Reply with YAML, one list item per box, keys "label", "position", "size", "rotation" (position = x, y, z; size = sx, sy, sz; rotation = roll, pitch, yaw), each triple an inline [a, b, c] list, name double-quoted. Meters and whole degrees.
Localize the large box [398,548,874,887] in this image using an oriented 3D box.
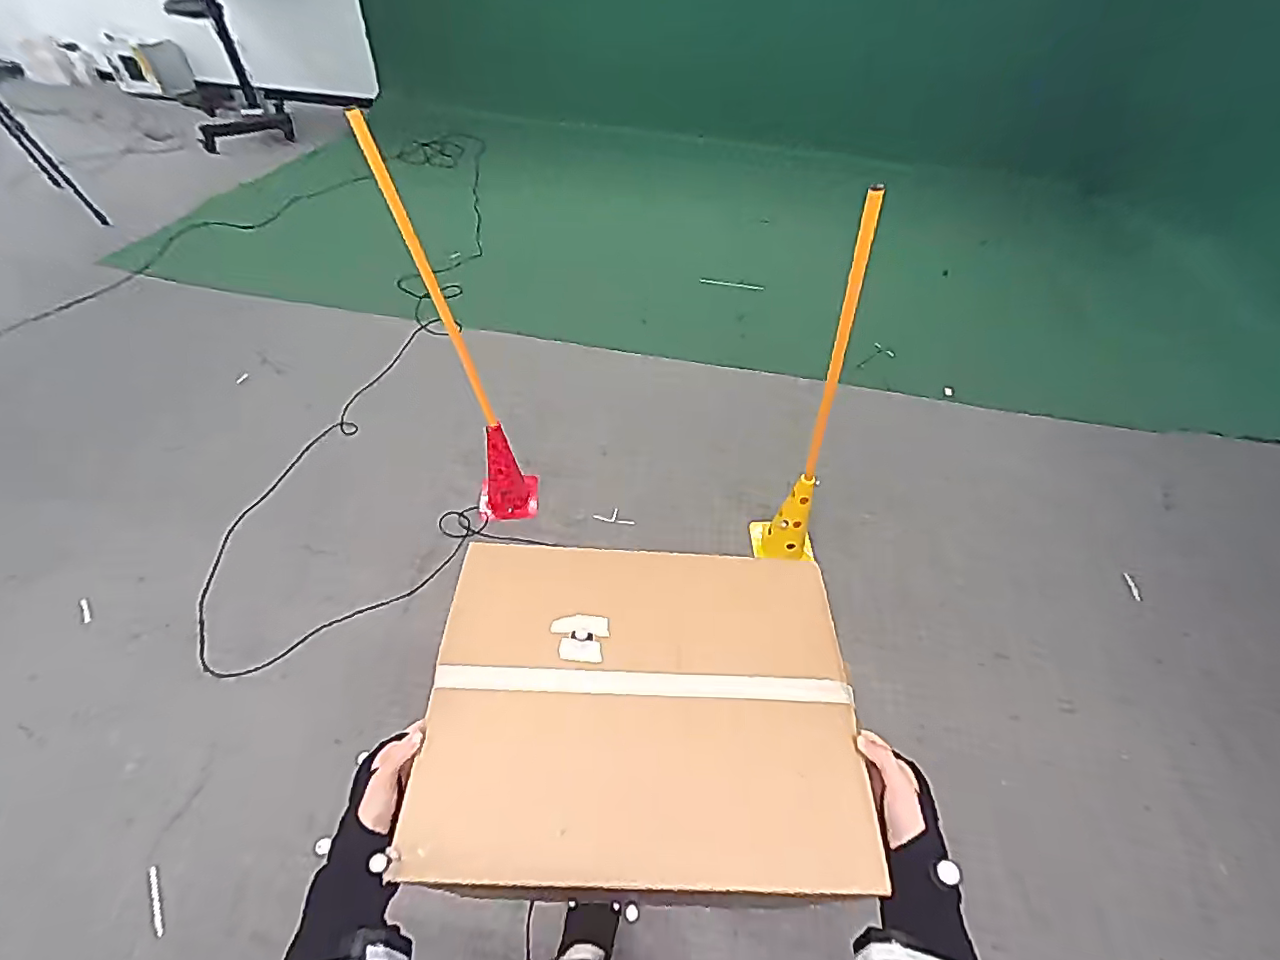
- label: "large box"
  position: [-0.004, 0.297, 0.654]
  size: [0.408, 0.320, 0.320]
  rotation: [3, 50, -2]
